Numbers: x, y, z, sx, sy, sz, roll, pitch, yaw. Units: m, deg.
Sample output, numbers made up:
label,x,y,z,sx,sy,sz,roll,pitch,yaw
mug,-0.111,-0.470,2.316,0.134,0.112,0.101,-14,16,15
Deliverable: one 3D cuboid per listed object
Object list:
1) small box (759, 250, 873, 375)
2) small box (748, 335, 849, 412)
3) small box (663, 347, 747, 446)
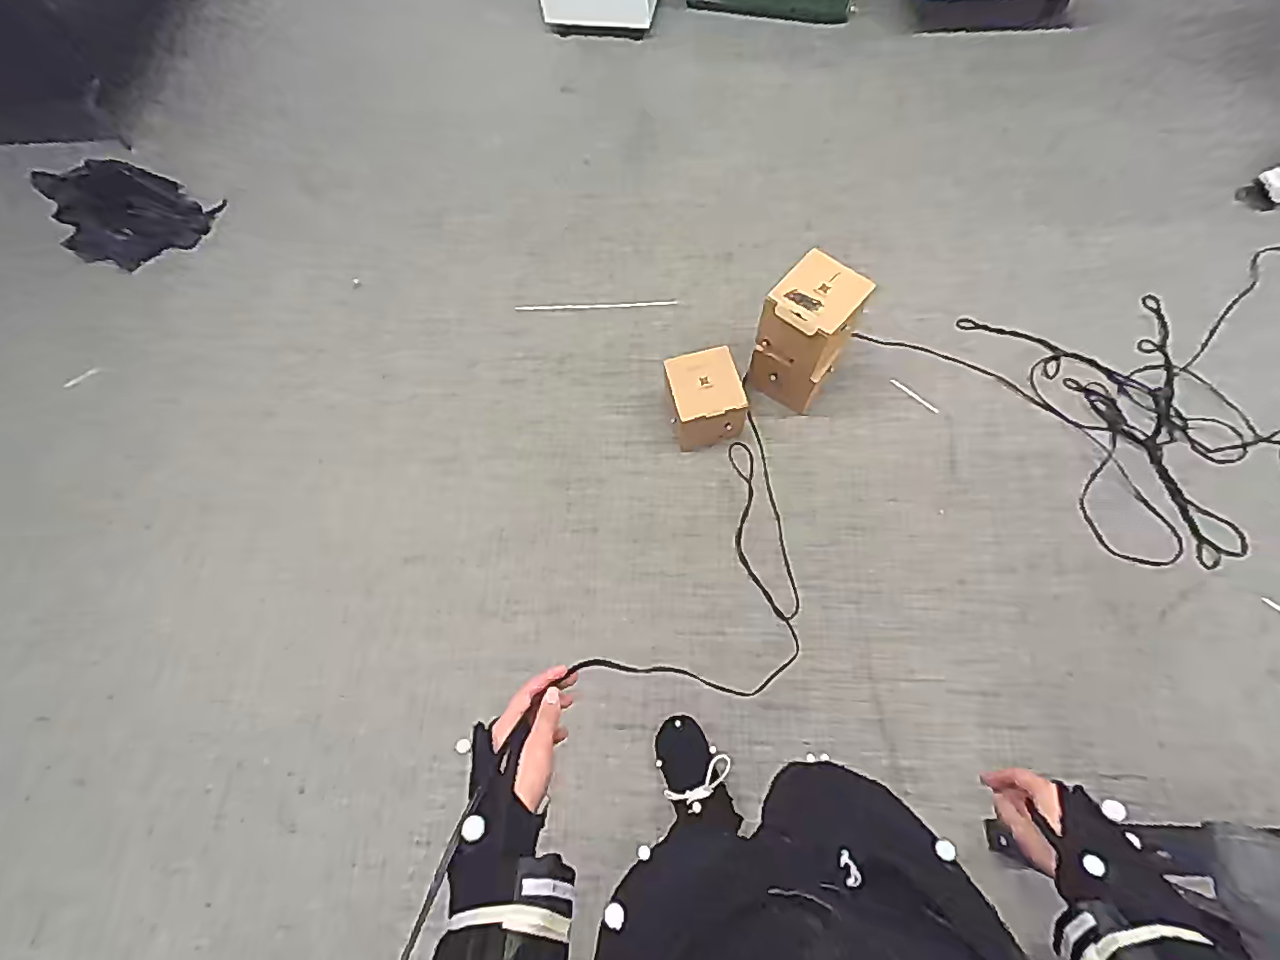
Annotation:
label,x,y,z,sx,sy,sz,roll,pitch,yaw
small box,0.389,-0.373,1.233,0.168,0.176,0.179,40,75,16
small box,0.395,-0.304,1.383,0.179,0.176,0.168,34,74,15
small box,0.159,-0.200,1.363,0.168,0.176,0.179,-14,68,-2
